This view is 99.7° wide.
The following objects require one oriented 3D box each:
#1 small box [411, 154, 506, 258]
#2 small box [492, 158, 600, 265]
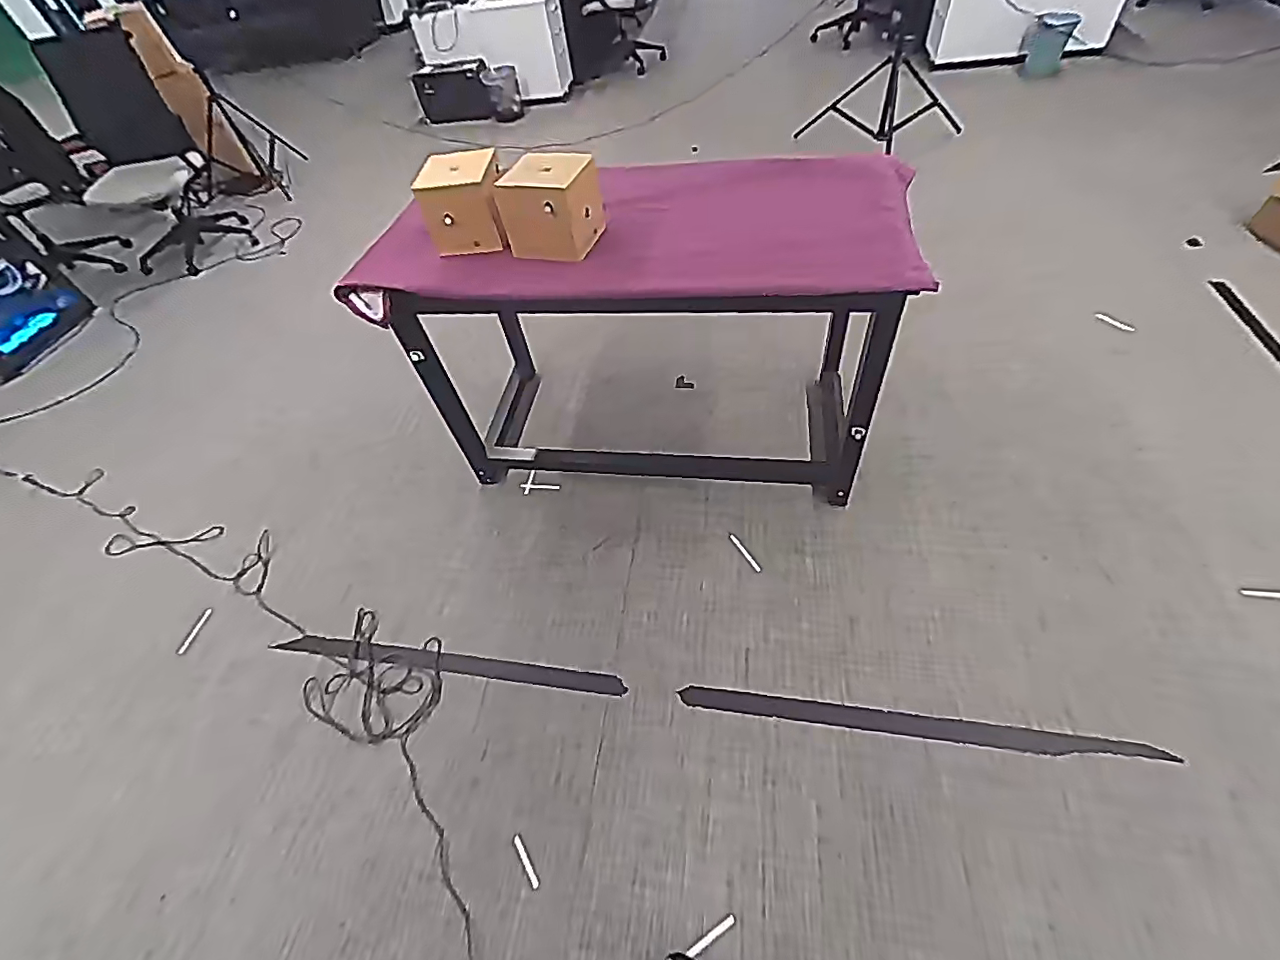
[{"bbox_3d":[-0.423,-0.657,1.314,0.168,0.176,0.179,-4,52,6],"label":"small box"},{"bbox_3d":[-0.205,-0.616,1.246,0.179,0.176,0.168,10,53,17],"label":"small box"}]
